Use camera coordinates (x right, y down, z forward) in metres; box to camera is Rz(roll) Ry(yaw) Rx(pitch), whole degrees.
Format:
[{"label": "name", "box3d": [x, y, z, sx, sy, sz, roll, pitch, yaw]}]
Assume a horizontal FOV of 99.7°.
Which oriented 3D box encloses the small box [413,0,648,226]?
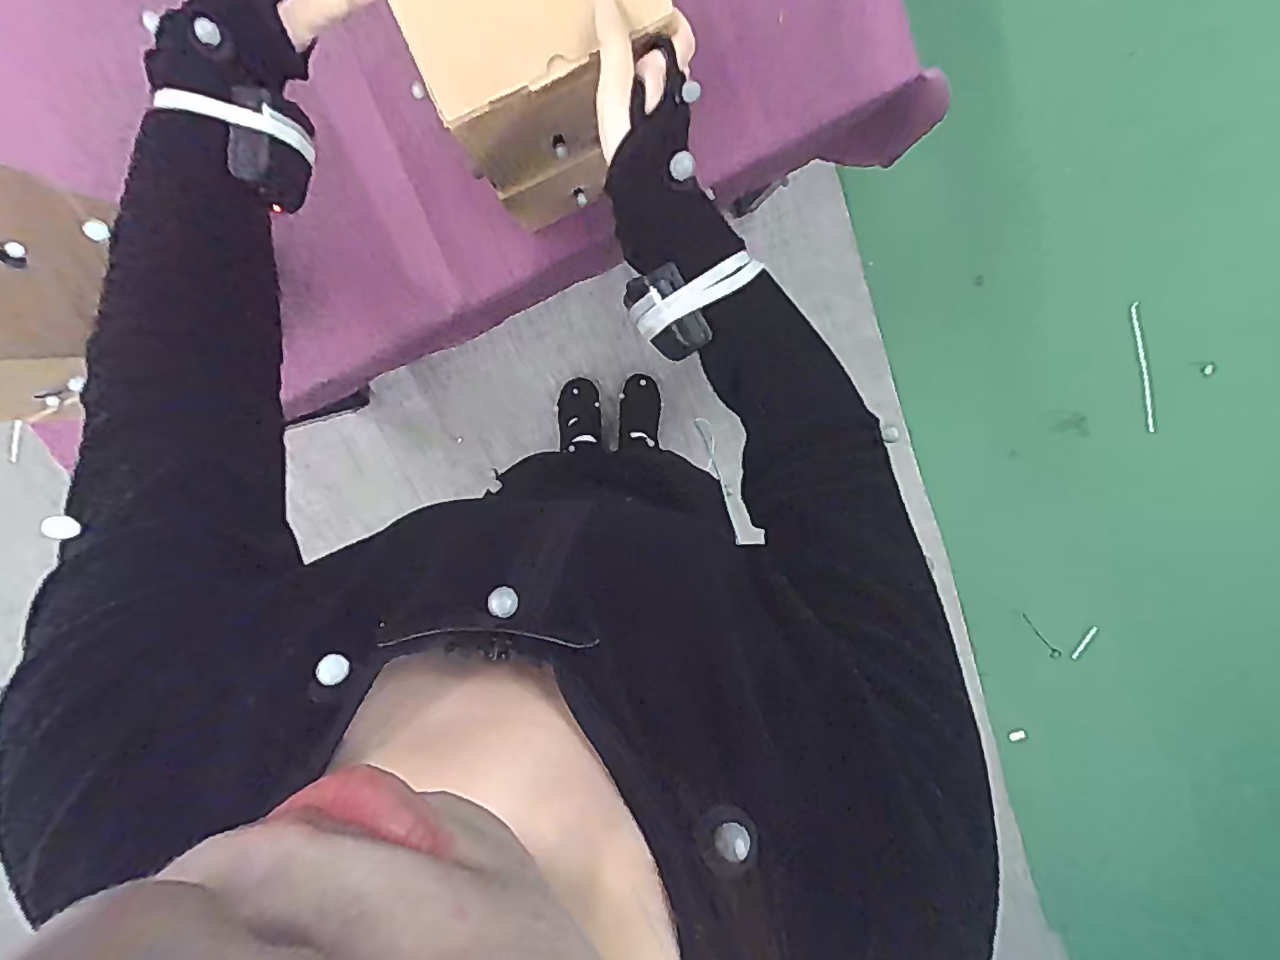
[{"label": "small box", "box3d": [-0.099, -0.391, 0.574, 0.168, 0.176, 0.179, -23, 104, 3]}]
